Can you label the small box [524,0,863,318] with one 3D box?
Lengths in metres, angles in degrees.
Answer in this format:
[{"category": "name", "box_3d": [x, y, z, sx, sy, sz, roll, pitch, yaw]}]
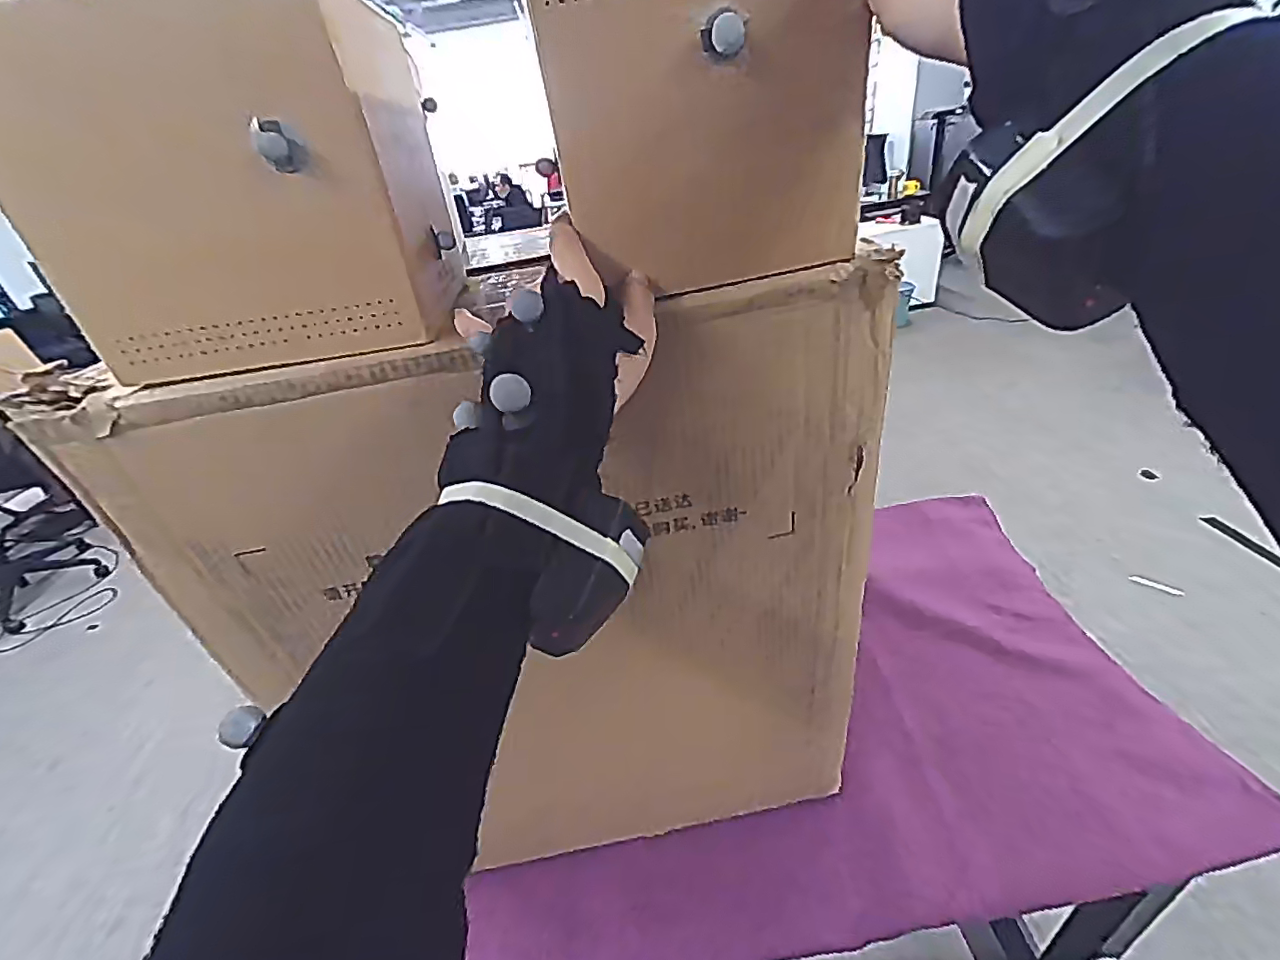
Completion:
[{"category": "small box", "box_3d": [0.028, -0.226, 0.347, 0.168, 0.176, 0.179, -13, 34, -2]}]
